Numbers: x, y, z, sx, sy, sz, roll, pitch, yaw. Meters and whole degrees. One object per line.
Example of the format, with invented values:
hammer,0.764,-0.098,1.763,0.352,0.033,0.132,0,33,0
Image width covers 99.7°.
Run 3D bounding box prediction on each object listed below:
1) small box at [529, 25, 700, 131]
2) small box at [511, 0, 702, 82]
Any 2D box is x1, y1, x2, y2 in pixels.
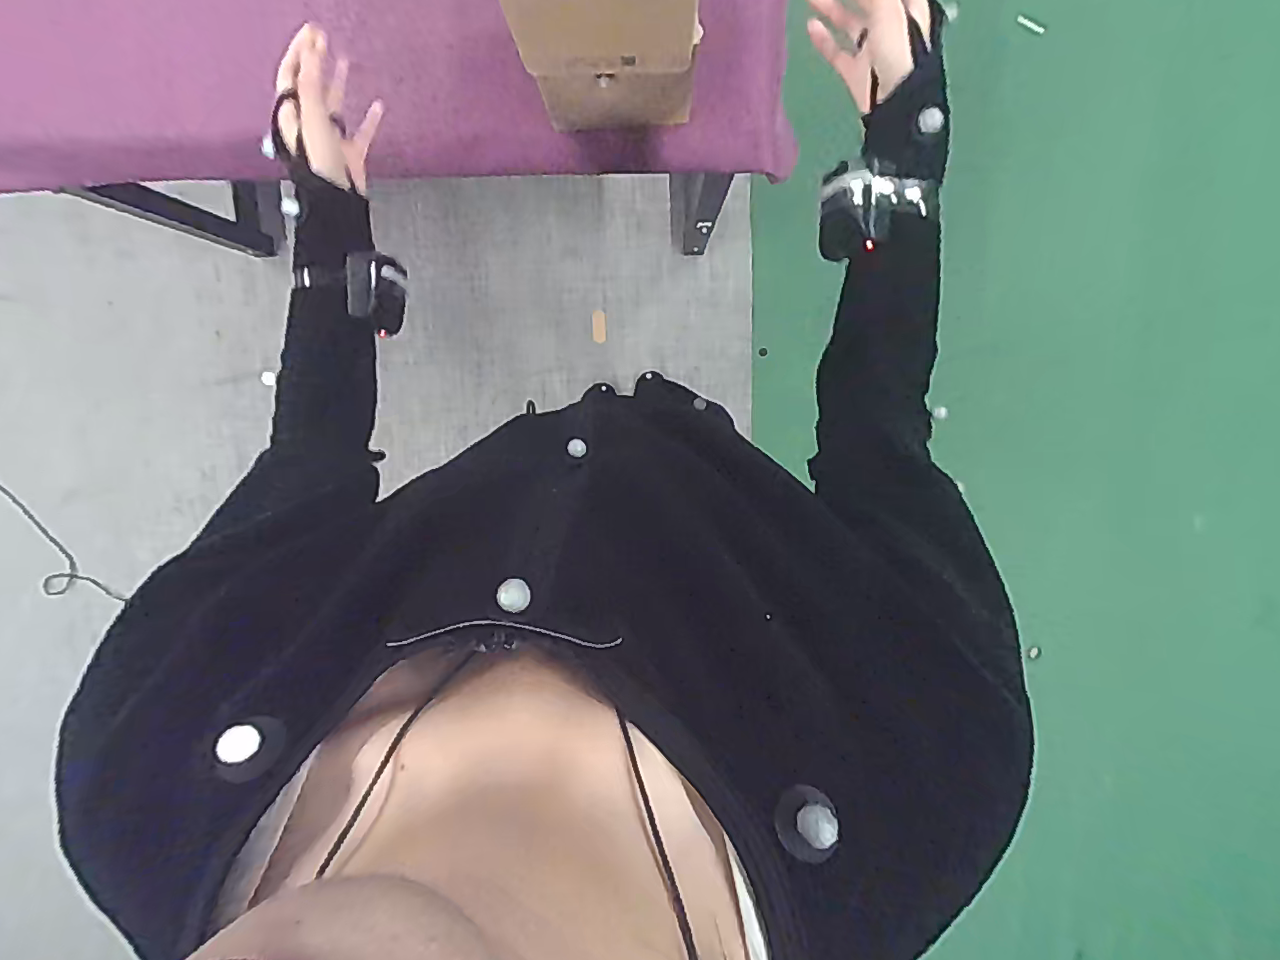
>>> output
small box,-0.027,-0.524,0.615,0.179,0.176,0.168,-2,100,1
small box,-0.030,-0.480,0.456,0.168,0.176,0.179,0,99,2
